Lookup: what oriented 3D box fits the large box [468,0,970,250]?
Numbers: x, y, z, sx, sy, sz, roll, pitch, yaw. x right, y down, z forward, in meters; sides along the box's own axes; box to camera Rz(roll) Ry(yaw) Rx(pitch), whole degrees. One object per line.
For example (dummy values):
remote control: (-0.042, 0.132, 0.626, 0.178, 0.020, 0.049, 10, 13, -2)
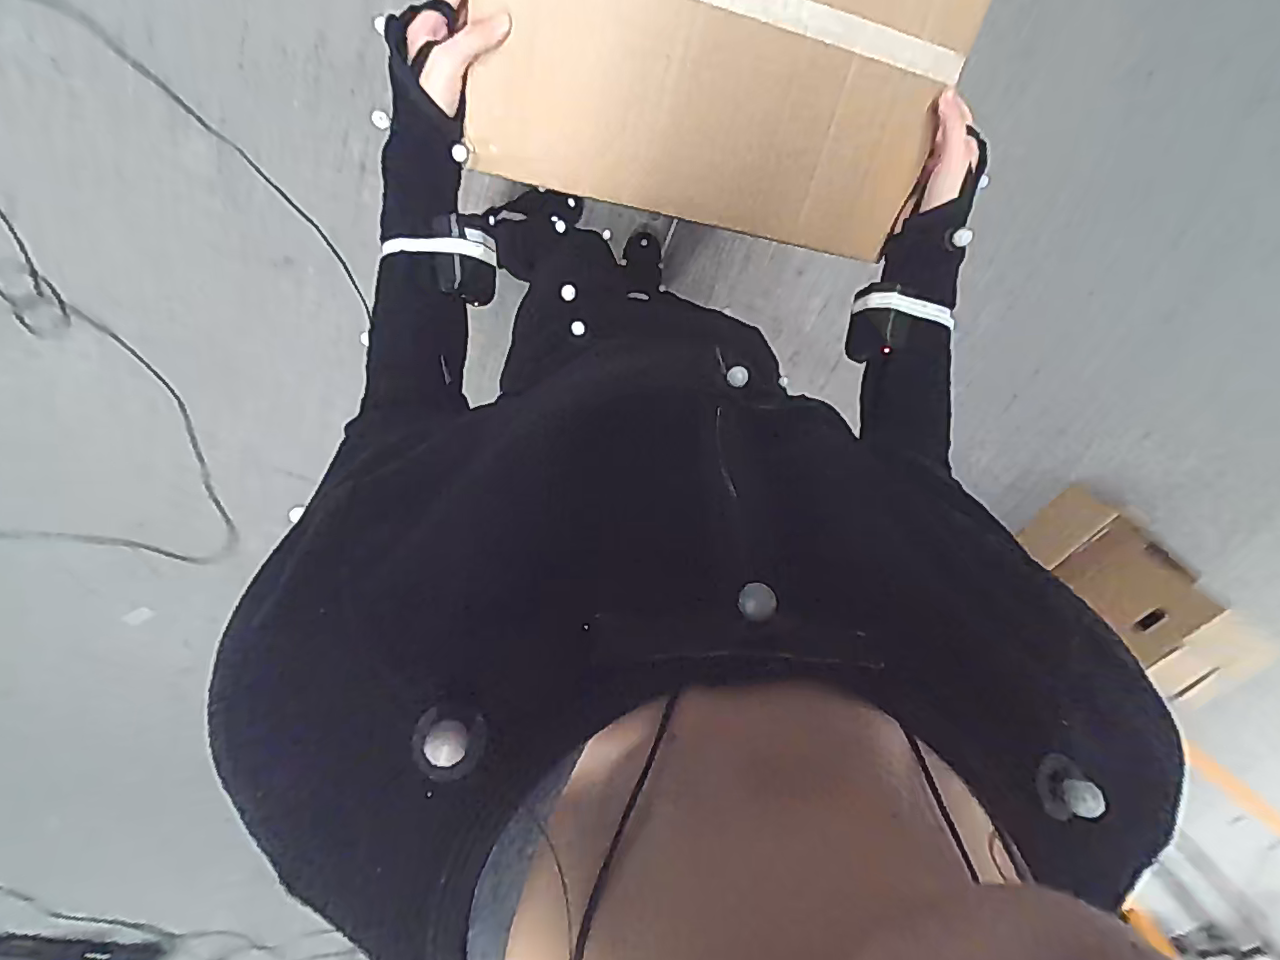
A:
large box: (0.051, -0.455, 0.554, 0.408, 0.320, 0.320, 5, 121, -14)
